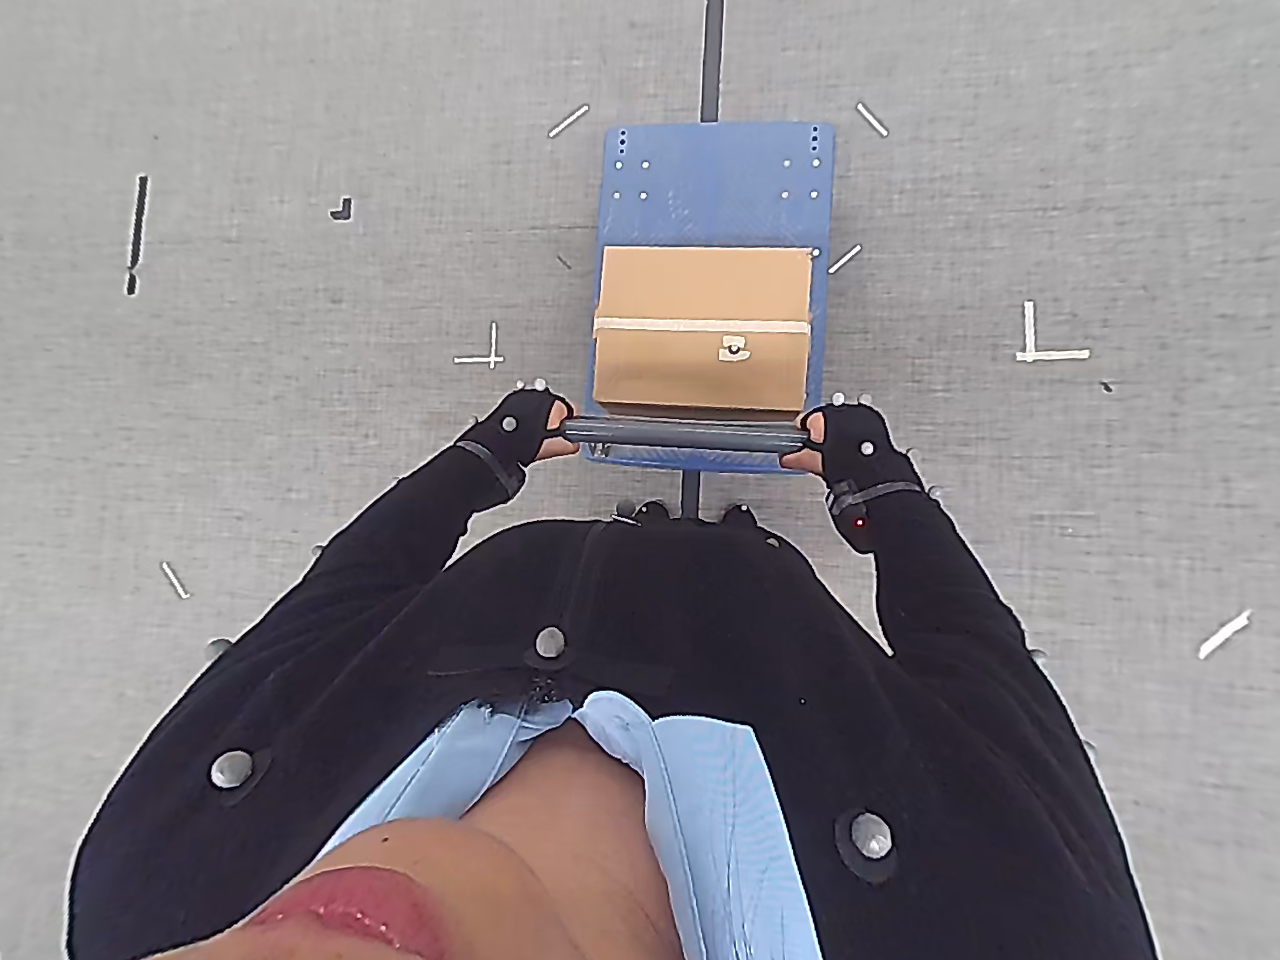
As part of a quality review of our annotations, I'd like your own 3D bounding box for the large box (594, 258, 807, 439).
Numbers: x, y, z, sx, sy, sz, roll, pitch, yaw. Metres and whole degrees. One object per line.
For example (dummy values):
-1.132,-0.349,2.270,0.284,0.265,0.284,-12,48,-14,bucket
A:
0.128,-0.267,1.185,0.408,0.320,0.320,3,88,7,large box
